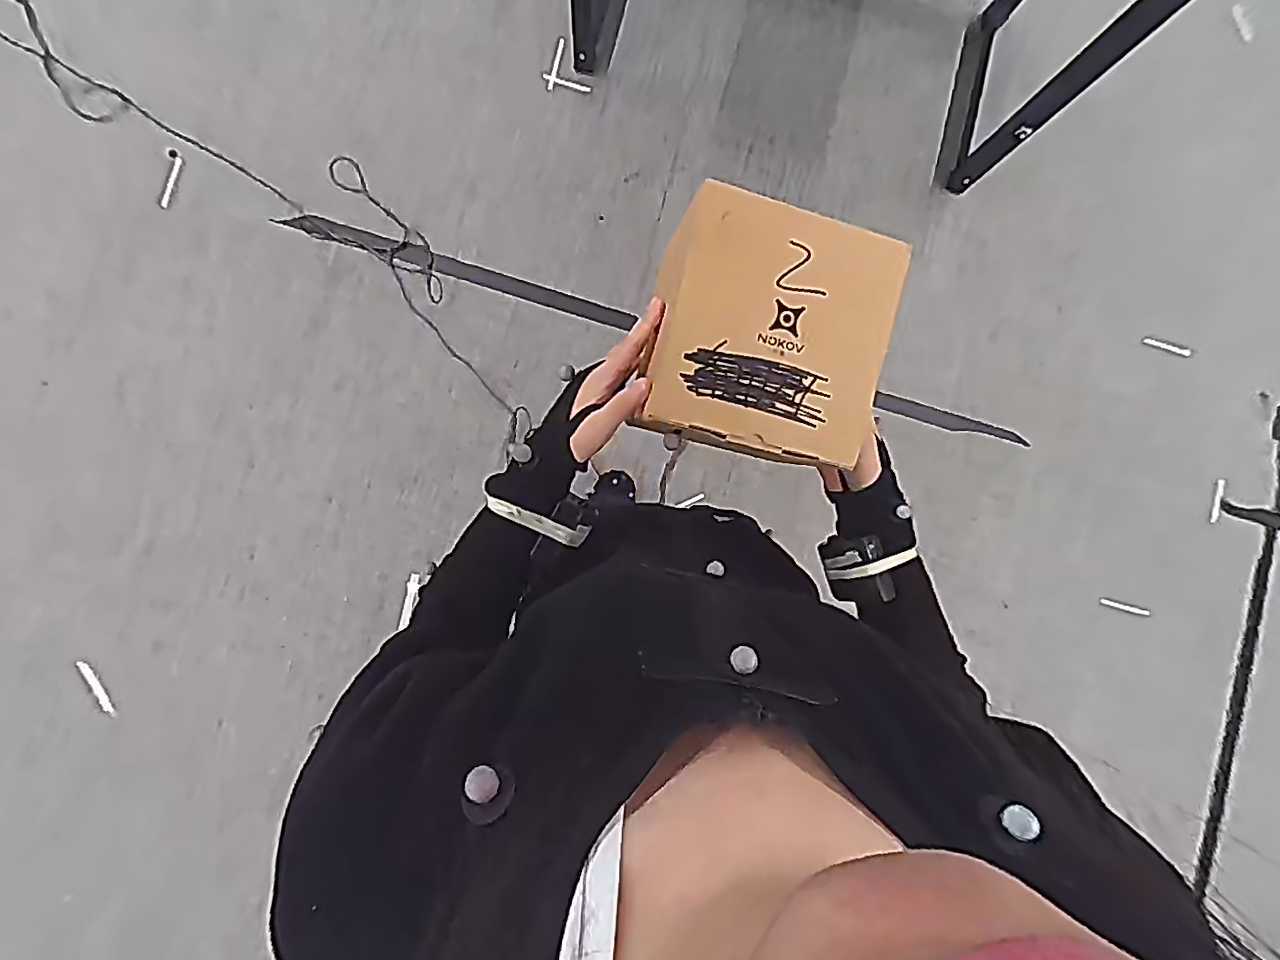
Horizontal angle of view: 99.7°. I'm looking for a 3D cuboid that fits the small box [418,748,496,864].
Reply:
[{"bbox_3d":[-0.470,0.808,1.354,0.168,0.176,0.179,14,86,-5],"label":"small box"}]
